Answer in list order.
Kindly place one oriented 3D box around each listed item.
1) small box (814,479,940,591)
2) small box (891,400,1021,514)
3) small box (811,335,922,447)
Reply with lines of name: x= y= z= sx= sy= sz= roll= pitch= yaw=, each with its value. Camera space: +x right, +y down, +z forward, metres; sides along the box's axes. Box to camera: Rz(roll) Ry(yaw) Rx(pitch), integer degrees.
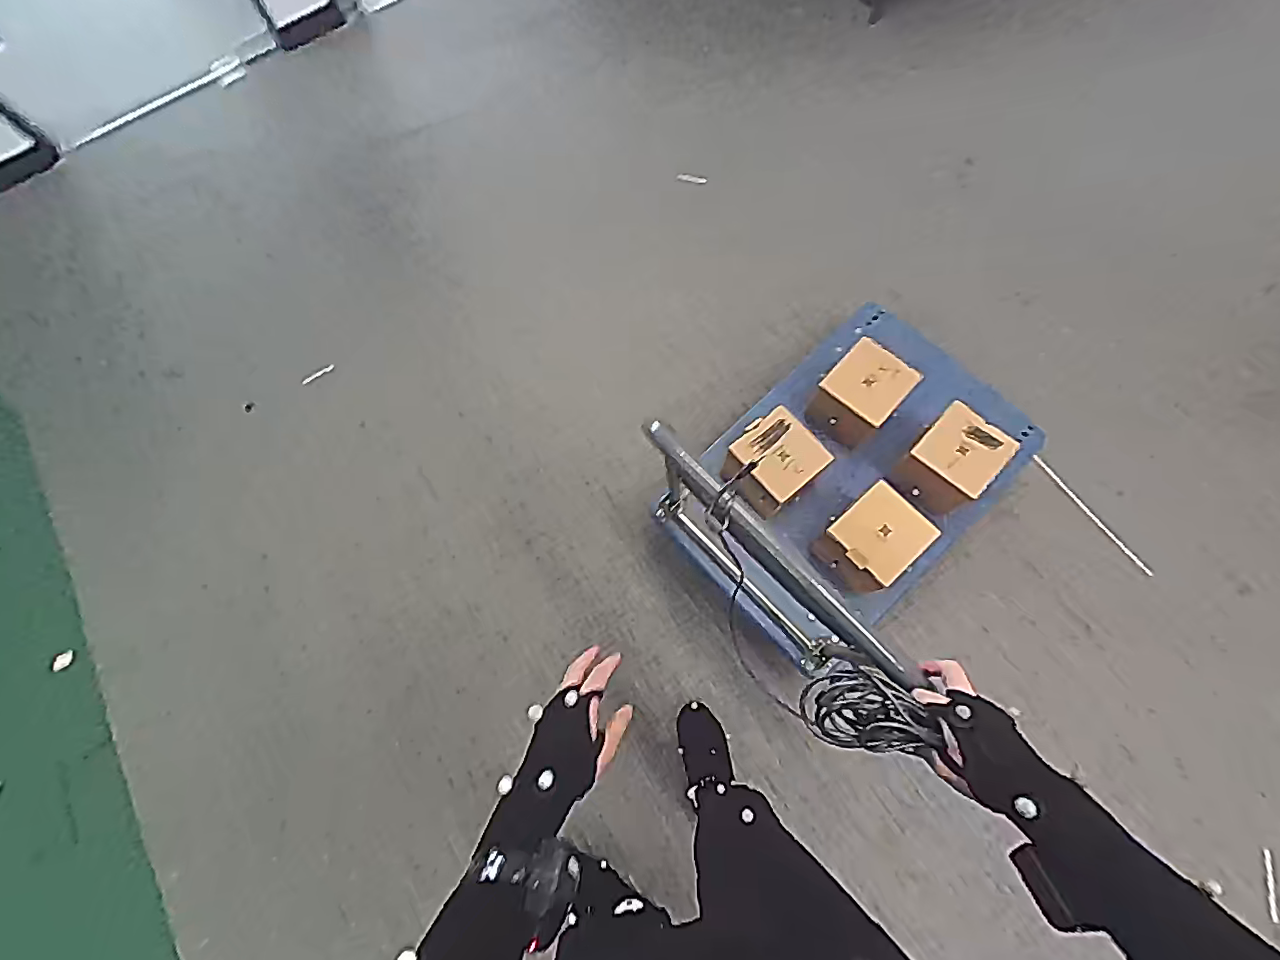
small box: x=0.522 y=0.131 z=1.221 sx=0.179 sy=0.176 sz=0.168 roll=-41 pitch=75 yaw=-8
small box: x=0.722 y=-0.047 z=1.261 sx=0.168 sy=0.176 sz=0.179 roll=42 pitch=81 yaw=15
small box: x=0.540 y=-0.210 z=1.323 sx=0.168 sy=0.176 sz=0.179 roll=42 pitch=80 yaw=14
